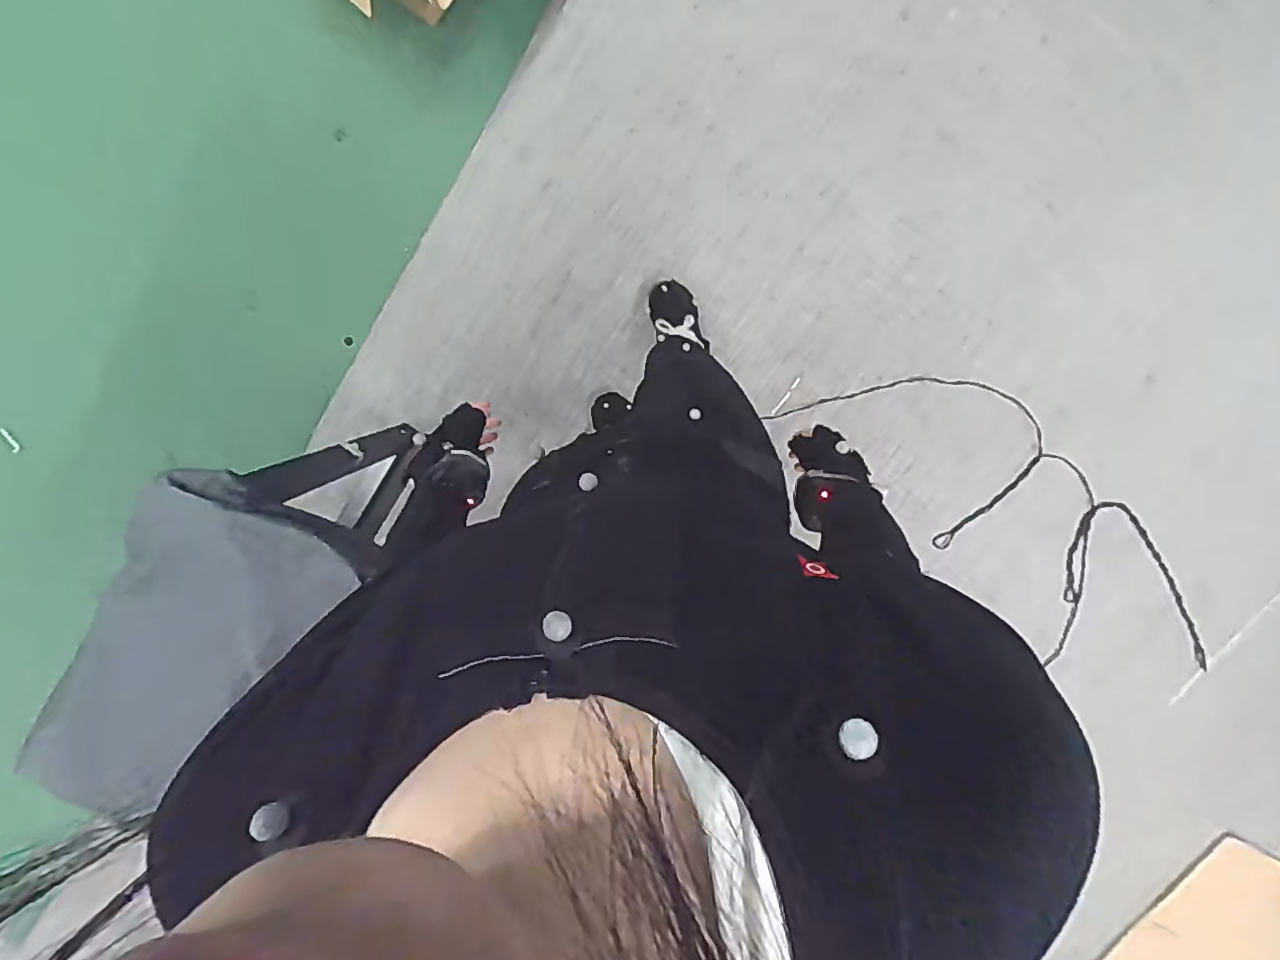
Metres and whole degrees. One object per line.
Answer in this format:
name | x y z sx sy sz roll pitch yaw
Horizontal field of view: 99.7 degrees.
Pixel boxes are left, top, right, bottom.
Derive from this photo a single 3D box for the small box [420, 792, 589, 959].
small box | -0.190 0.627 0.817 0.168 0.176 0.179 35 101 -8
